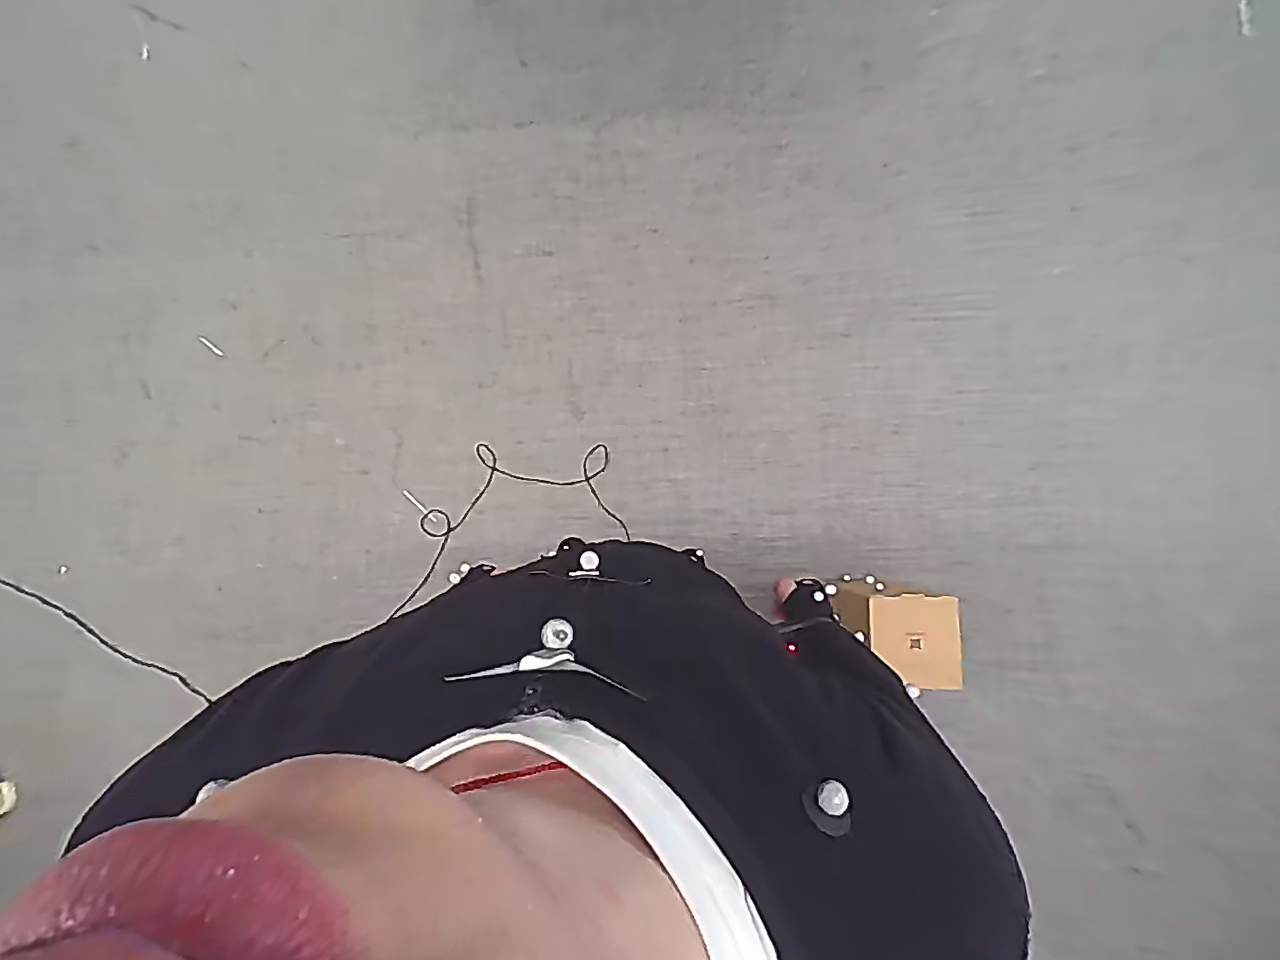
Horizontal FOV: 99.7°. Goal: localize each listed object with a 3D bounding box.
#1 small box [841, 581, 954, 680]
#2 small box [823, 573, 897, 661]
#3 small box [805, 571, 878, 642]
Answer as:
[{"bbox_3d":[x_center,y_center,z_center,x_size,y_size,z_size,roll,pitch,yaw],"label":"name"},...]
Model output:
[{"bbox_3d":[0.530,0.306,1.134,0.168,0.176,0.179,-2,87,4],"label":"small box"},{"bbox_3d":[0.546,0.323,1.291,0.168,0.176,0.179,1,87,1],"label":"small box"},{"bbox_3d":[0.556,0.341,1.476,0.179,0.176,0.168,-4,85,2],"label":"small box"}]
